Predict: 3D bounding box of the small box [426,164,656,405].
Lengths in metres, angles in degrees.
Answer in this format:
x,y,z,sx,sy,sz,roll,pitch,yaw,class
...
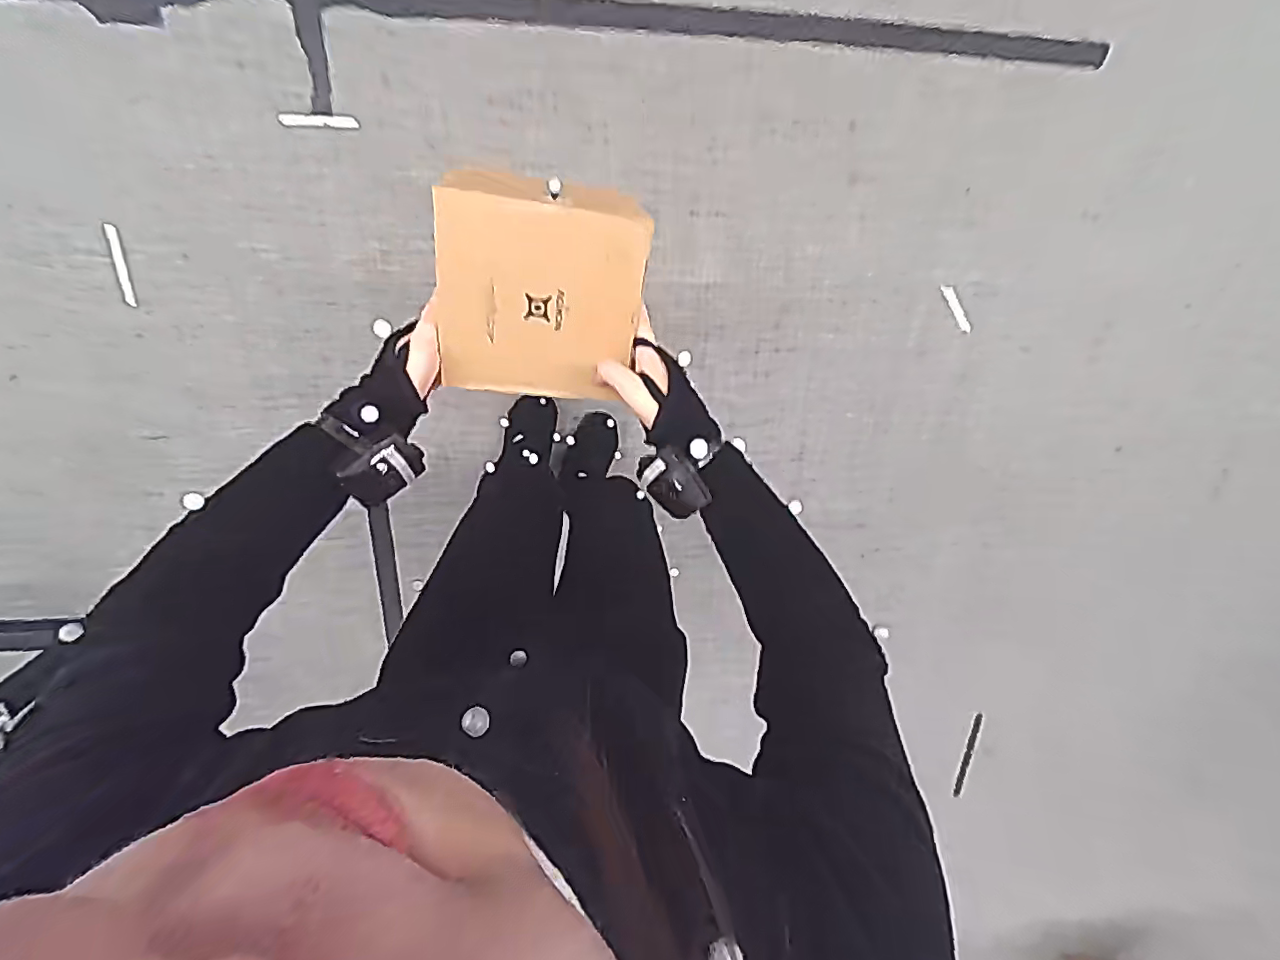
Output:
x,y,z,sx,sy,sz,roll,pitch,yaw,class
-0.097,-0.188,0.515,0.179,0.176,0.168,4,124,-13,small box
